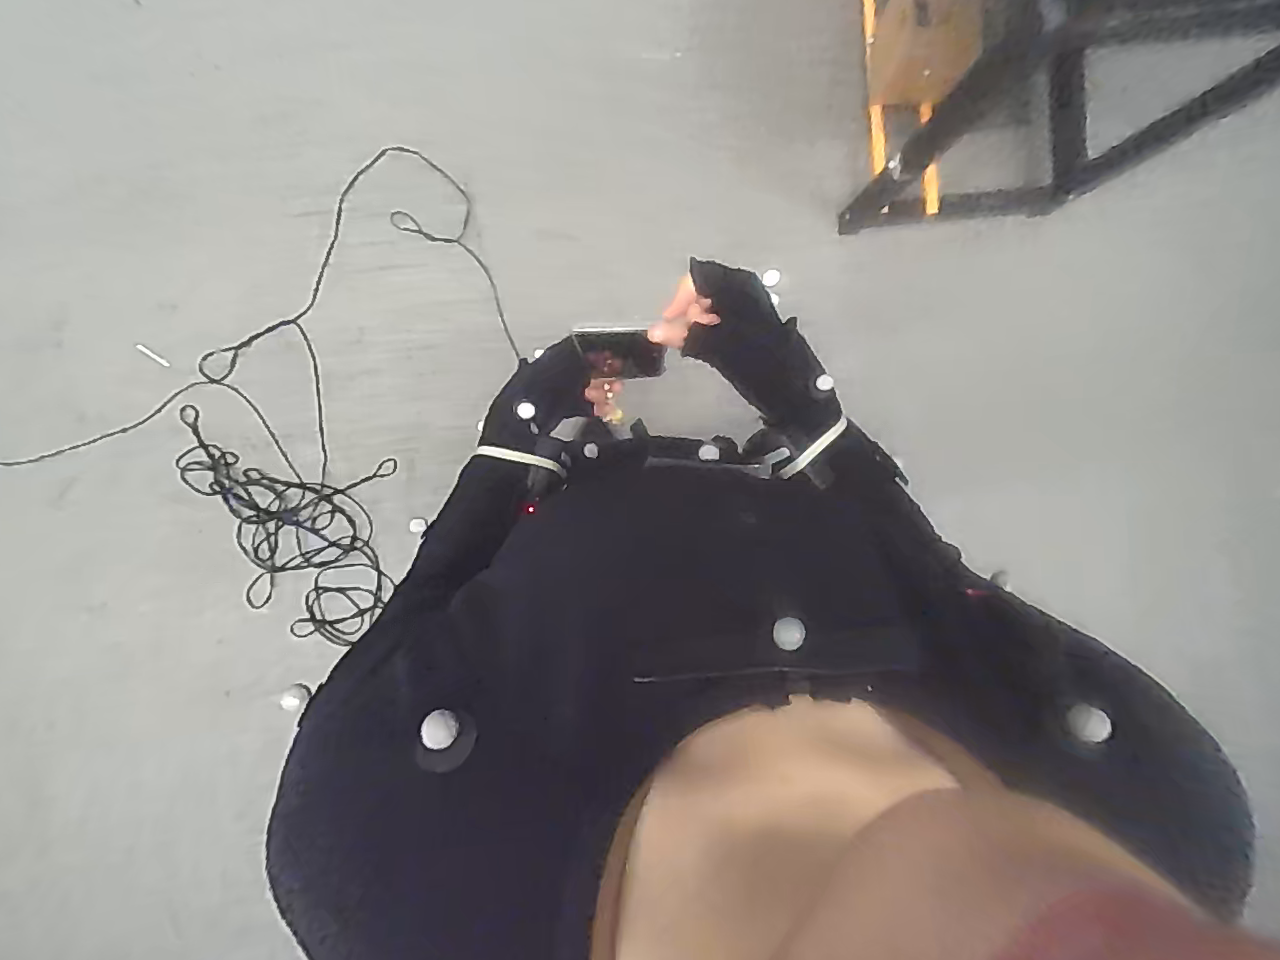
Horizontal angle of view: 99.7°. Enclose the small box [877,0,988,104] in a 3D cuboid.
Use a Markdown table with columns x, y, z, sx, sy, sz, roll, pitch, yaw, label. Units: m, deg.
| x | y | z | sx | sy | sz | roll | pitch | yaw | label |
| --- | --- | --- | --- | --- | --- | --- | --- | --- | --- |
| 0.660 | -0.995 | 1.238 | 0.179 | 0.176 | 0.168 | -2 | 94 | -1 | small box |
